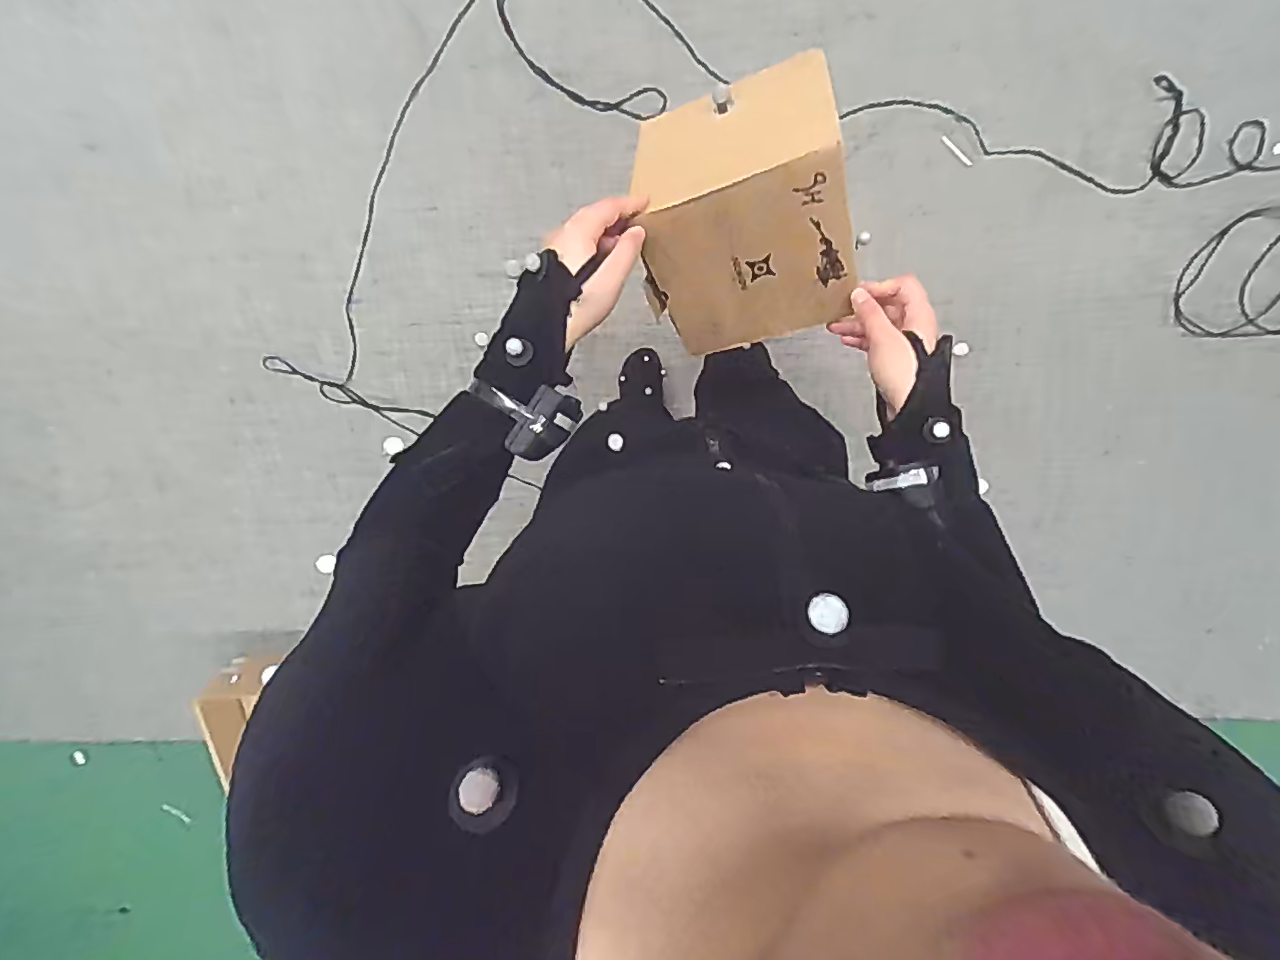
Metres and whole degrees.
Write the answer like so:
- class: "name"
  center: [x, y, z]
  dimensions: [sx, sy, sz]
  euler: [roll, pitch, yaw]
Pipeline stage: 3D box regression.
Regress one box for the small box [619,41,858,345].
- class: "small box"
  center: [0.100, -0.263, 0.515]
  dimensions: [0.179, 0.176, 0.168]
  euler: [-10, 144, 23]
